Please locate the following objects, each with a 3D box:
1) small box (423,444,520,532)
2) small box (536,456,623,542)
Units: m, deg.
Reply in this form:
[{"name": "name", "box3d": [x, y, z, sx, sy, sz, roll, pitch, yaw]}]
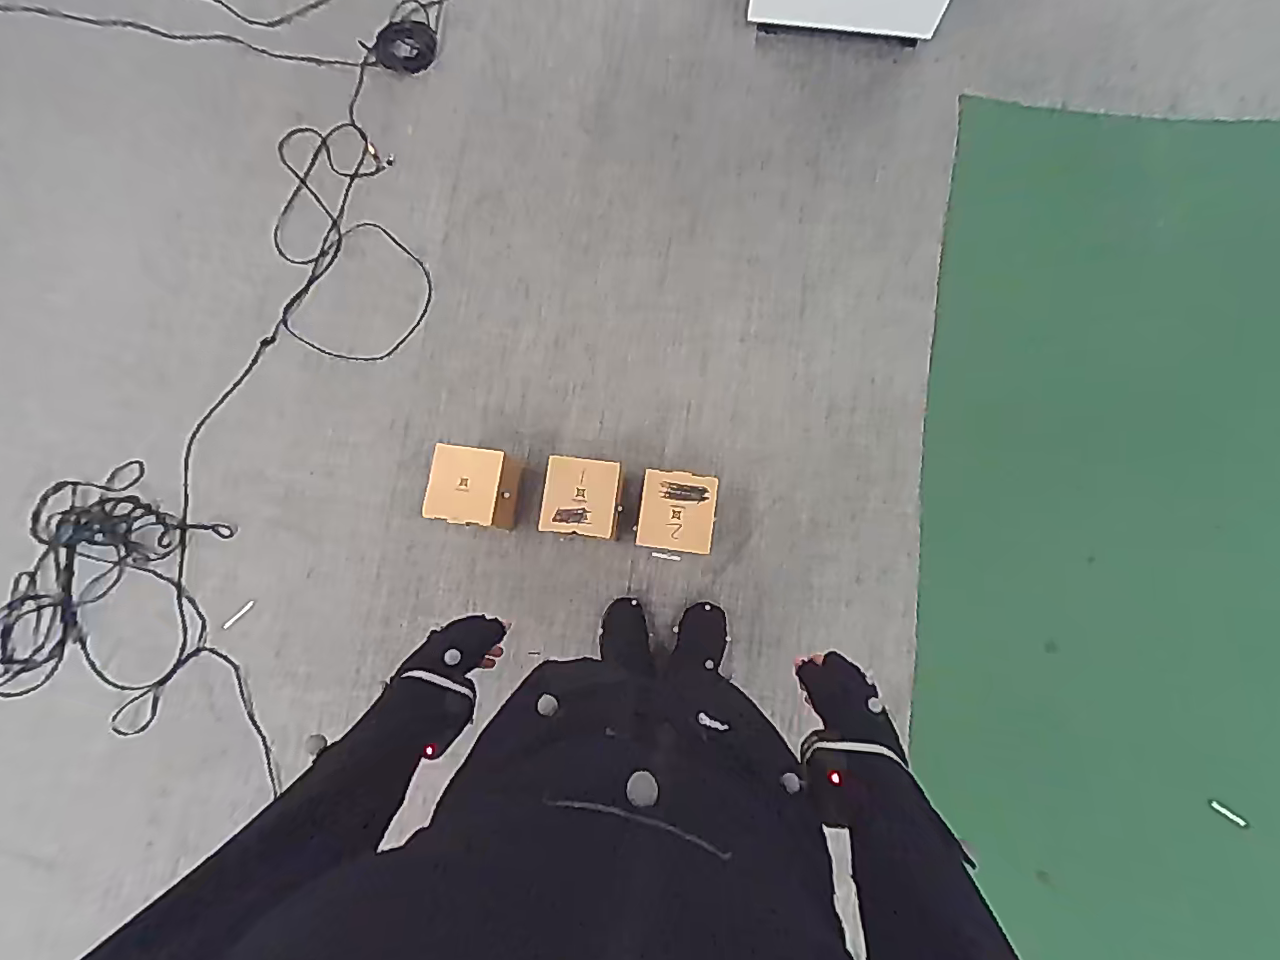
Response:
[{"name": "small box", "box3d": [-0.402, 0.025, 1.322, 0.168, 0.176, 0.179, 7, 81, 5]}, {"name": "small box", "box3d": [-0.137, 0.052, 1.300, 0.168, 0.176, 0.179, 7, 79, 5]}]
